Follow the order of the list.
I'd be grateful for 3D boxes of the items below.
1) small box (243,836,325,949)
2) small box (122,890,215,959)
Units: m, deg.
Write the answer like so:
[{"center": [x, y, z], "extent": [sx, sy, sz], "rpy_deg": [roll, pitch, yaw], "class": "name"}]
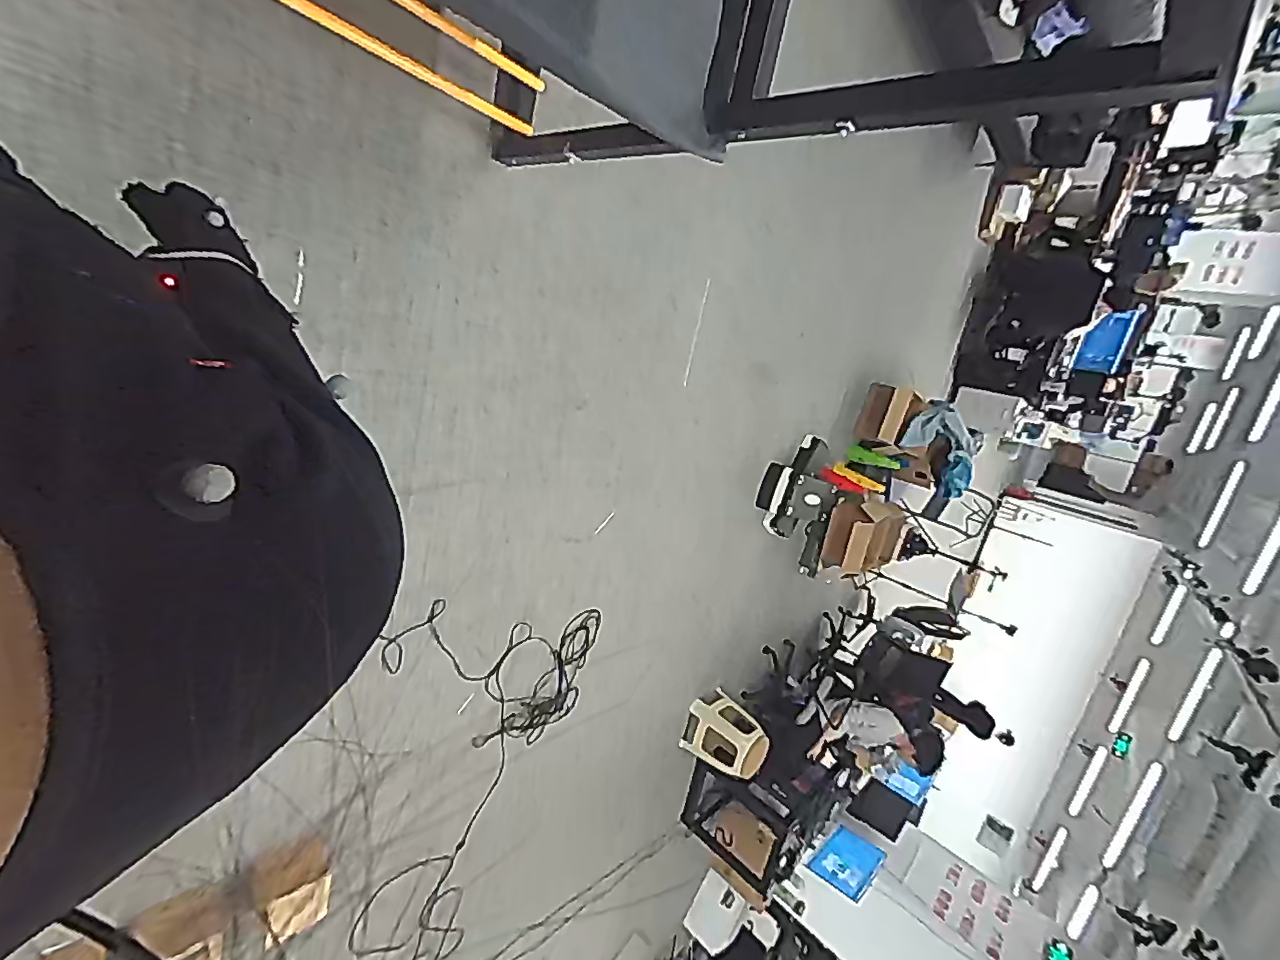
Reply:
[{"center": [-1.082, 1.238, 1.639], "extent": [0.168, 0.176, 0.179], "rpy_deg": [-1, 109, -49], "class": "small box"}, {"center": [-1.257, 1.246, 1.438], "extent": [0.168, 0.176, 0.179], "rpy_deg": [-2, 110, -49], "class": "small box"}]
